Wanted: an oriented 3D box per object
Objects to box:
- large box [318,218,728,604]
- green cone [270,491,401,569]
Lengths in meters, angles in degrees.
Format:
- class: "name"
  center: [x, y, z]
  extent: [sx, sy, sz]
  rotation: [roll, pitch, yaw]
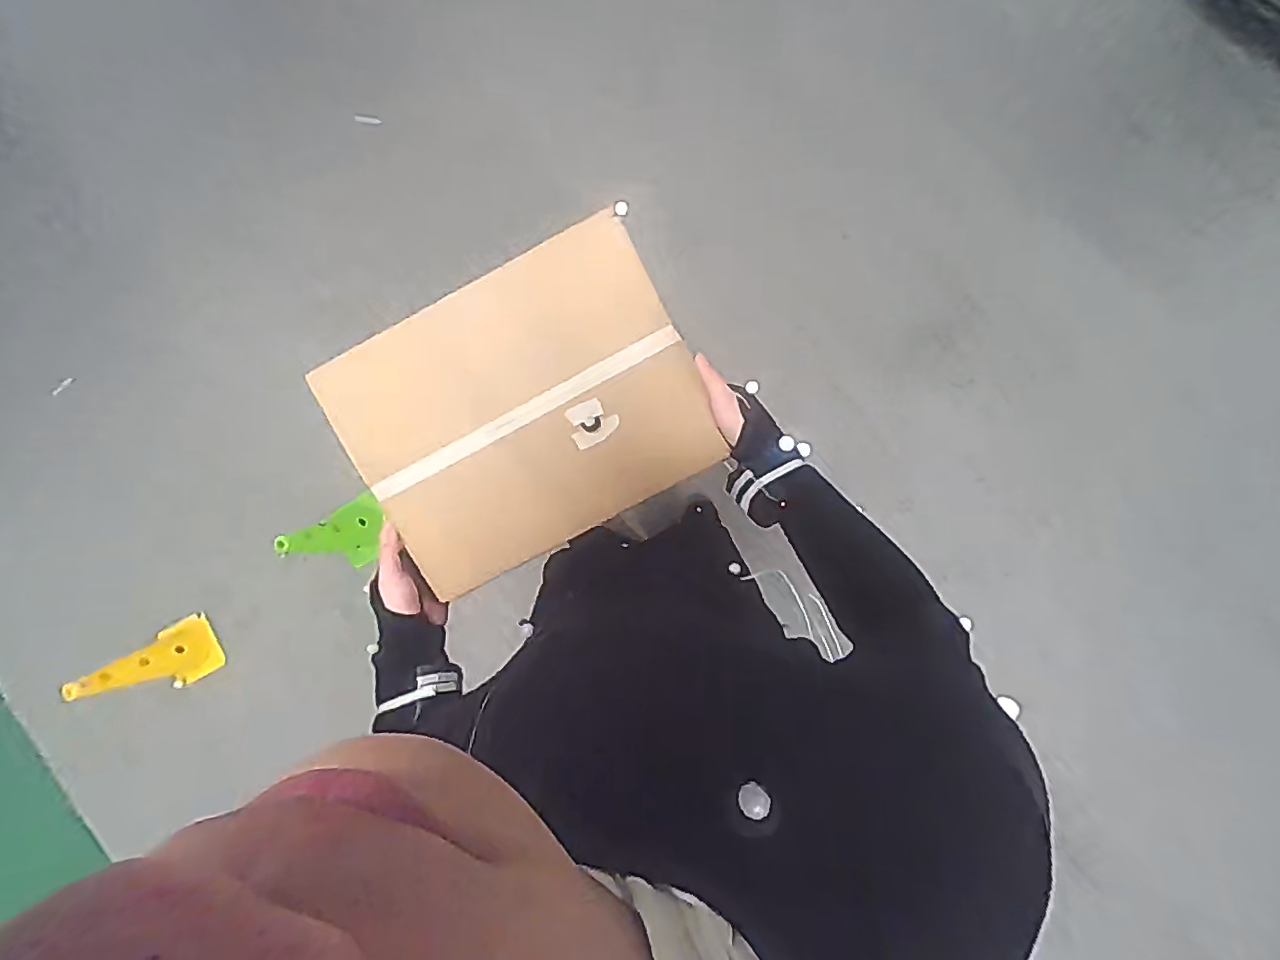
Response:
- class: "large box"
  center: [-0.139, -0.088, 0.788]
  extent: [0.408, 0.320, 0.320]
  rotation: [-29, 97, 3]
- class: "green cone"
  center: [-0.912, 0.166, 1.574]
  extent: [0.202, 0.368, 0.200]
  rotation: [-32, 87, 8]
